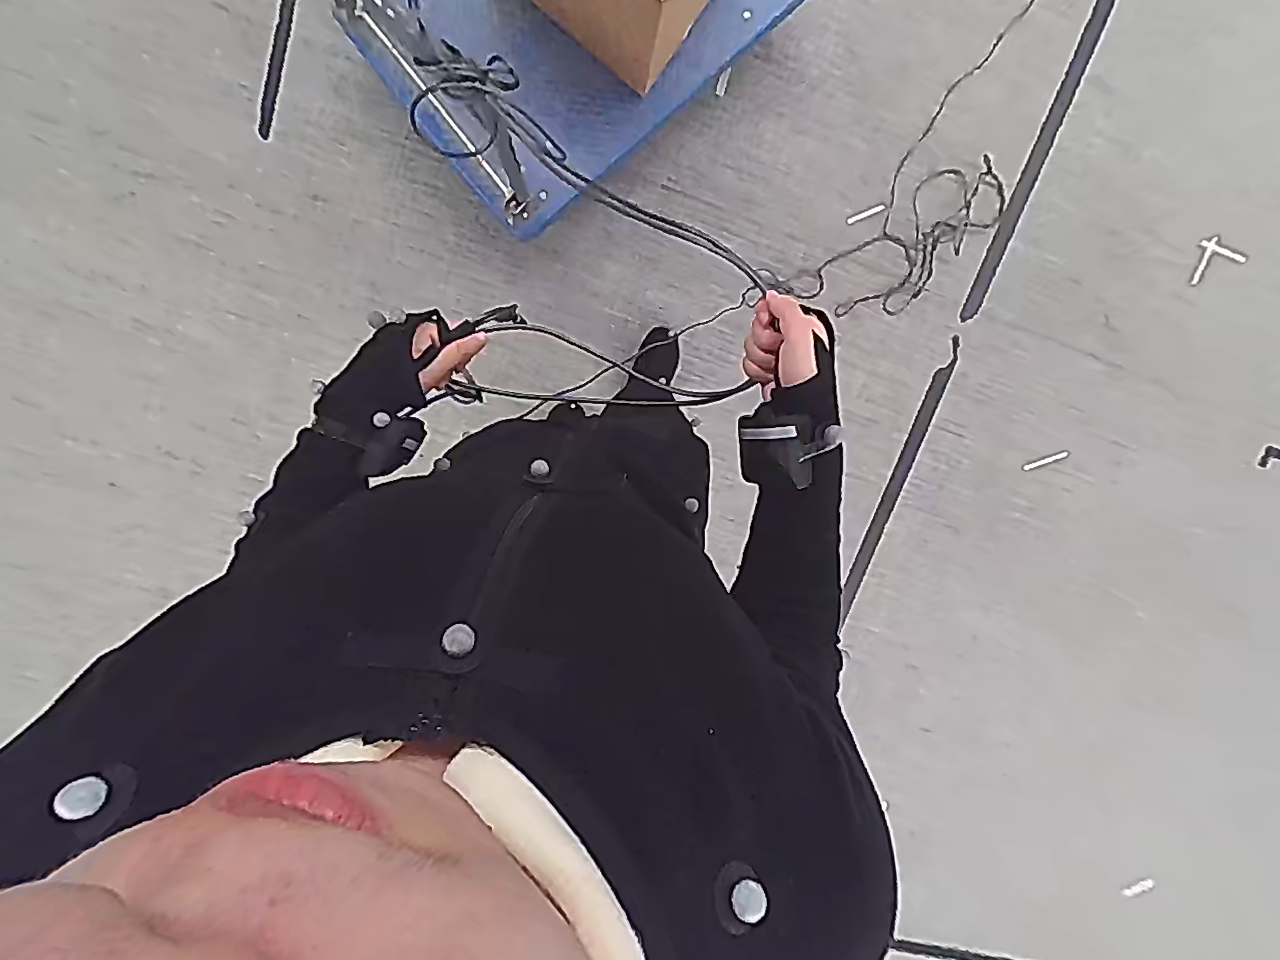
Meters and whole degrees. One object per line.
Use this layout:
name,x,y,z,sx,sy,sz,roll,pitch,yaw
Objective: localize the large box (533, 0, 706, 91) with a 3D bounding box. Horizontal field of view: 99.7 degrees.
large box,-0.048,-1.028,0.961,0.408,0.320,0.320,34,97,-12
